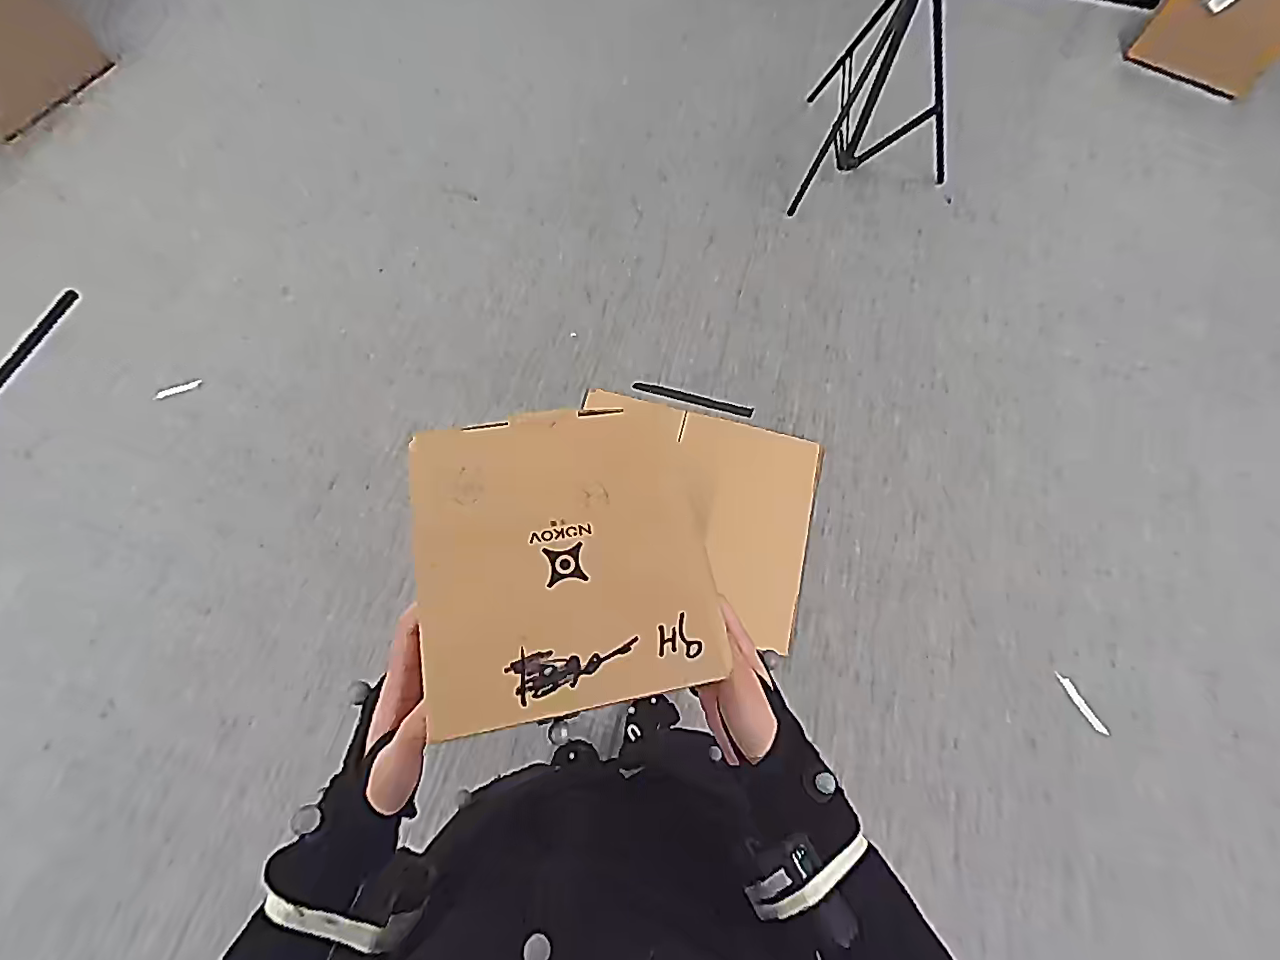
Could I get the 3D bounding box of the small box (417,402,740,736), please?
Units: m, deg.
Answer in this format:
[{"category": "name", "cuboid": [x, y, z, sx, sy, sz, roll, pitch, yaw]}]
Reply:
[{"category": "small box", "cuboid": [-0.048, 0.069, 0.384, 0.168, 0.176, 0.179, -9, 69, -9]}]
